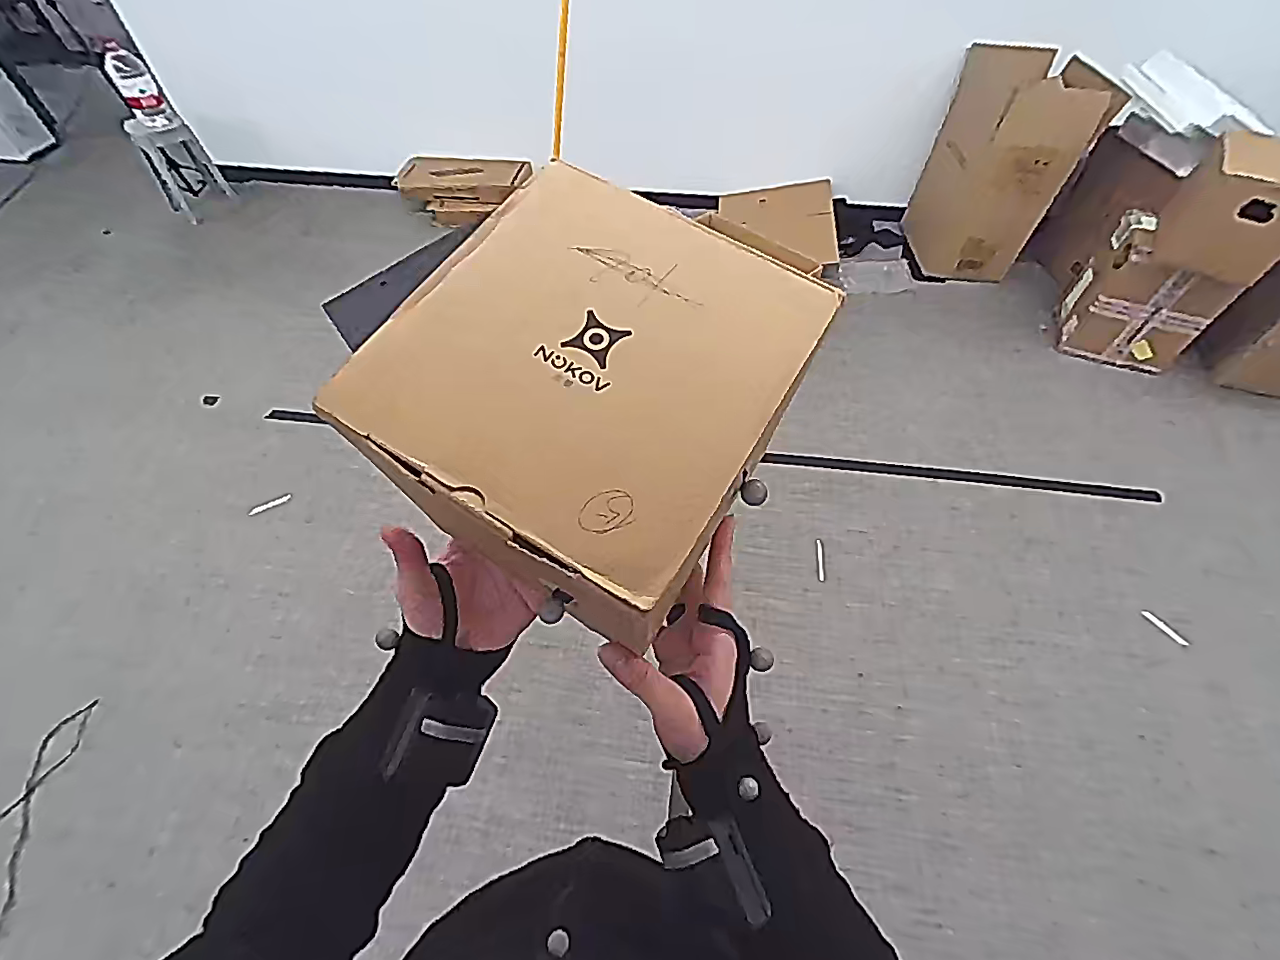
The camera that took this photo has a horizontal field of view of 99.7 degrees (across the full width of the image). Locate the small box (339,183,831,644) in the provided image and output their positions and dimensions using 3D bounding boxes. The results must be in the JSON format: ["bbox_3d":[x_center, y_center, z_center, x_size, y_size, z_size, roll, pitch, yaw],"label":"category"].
[{"bbox_3d":[-0.021,-0.022,0.321,0.168,0.176,0.179,30,69,10],"label":"small box"}]
